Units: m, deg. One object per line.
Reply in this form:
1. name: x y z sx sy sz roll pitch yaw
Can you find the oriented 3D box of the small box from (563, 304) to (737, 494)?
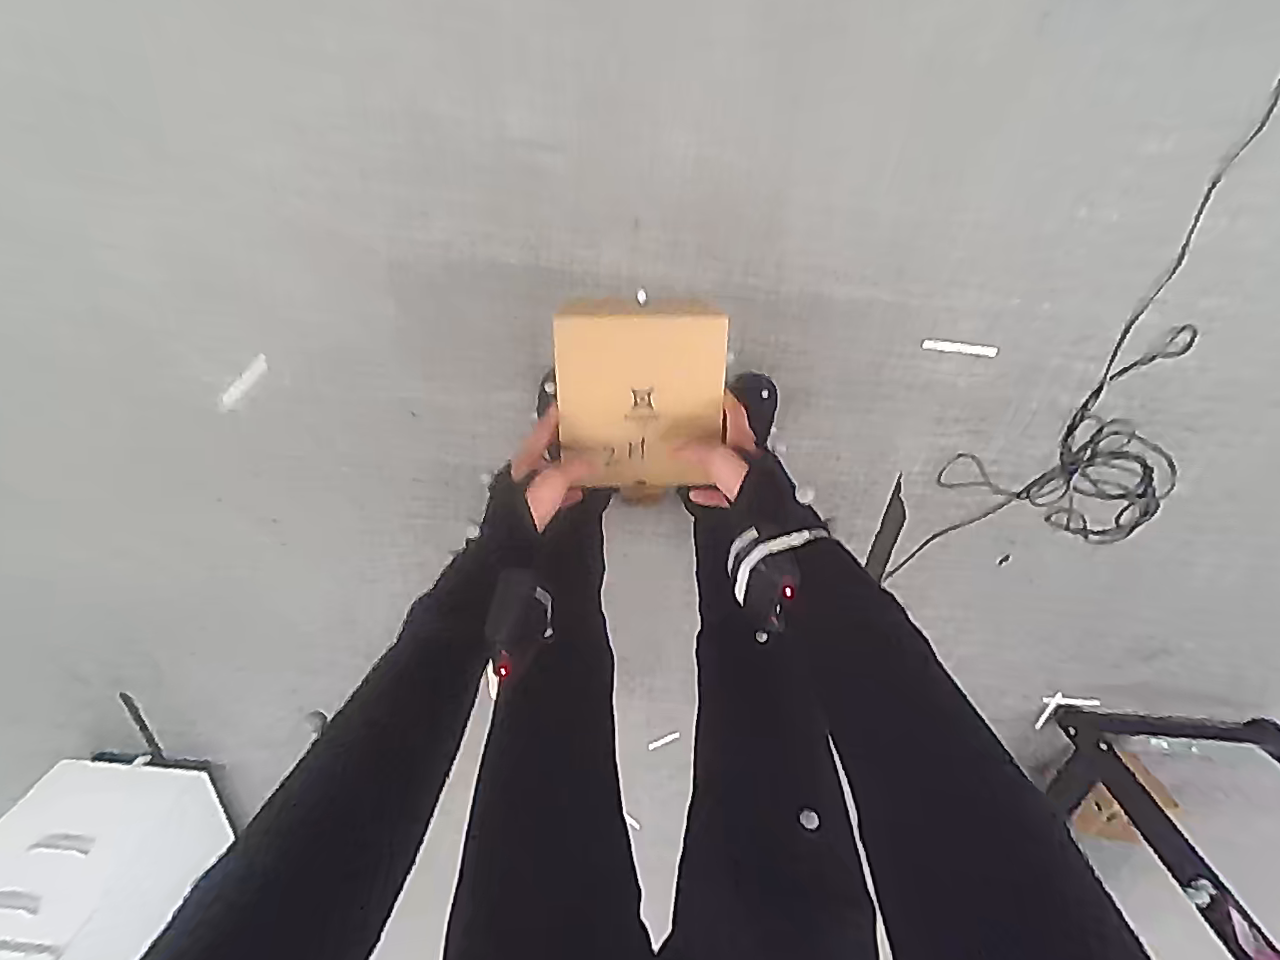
1. small box: 0.002 -0.098 0.601 0.168 0.176 0.179 0 115 -3
